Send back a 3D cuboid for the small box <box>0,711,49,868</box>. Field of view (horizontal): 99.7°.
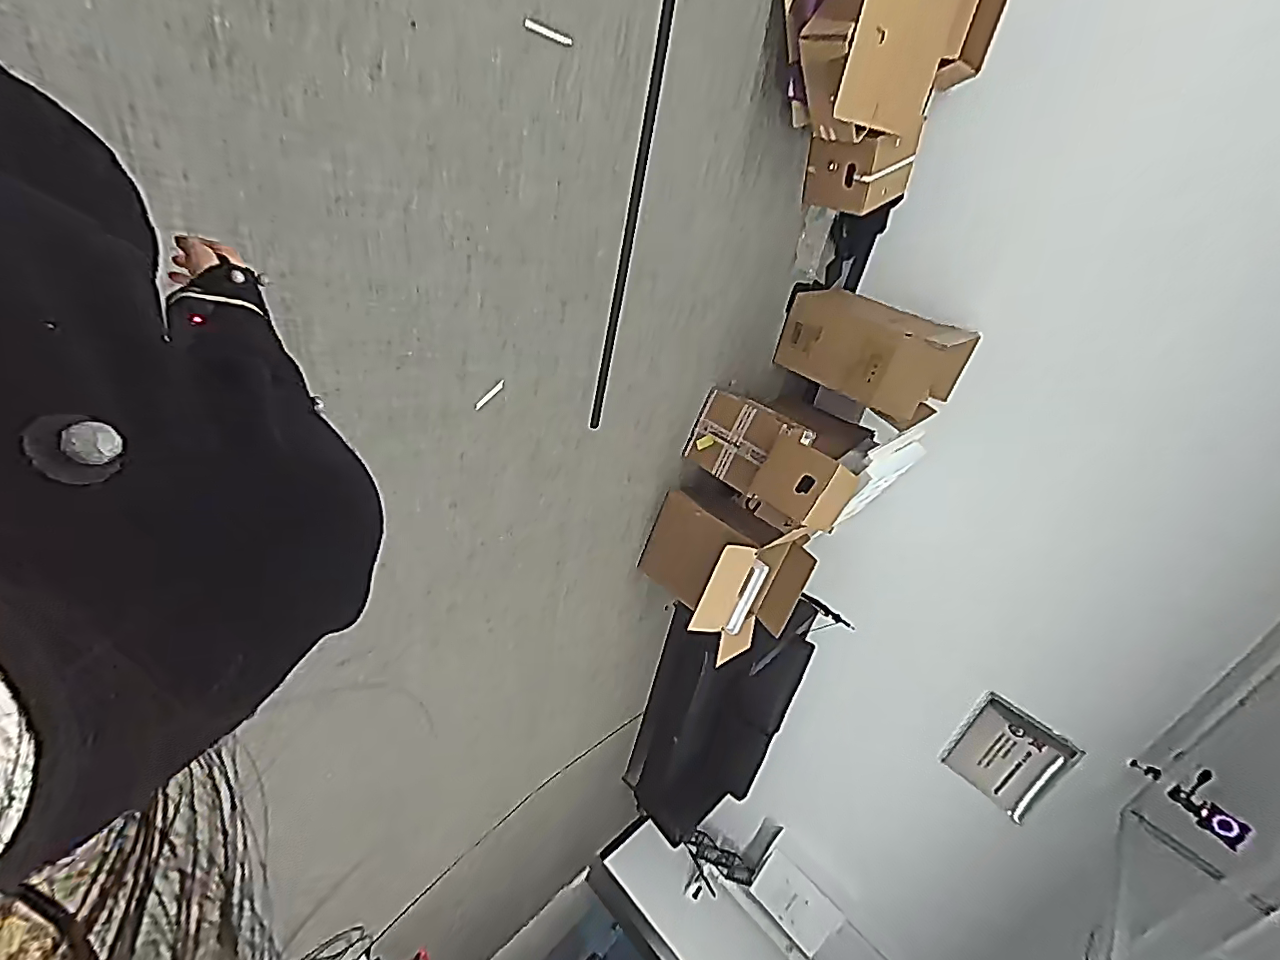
[{"bbox_3d":[-0.902,0.429,0.694,0.168,0.176,0.179,-12,127,-47],"label":"small box"}]

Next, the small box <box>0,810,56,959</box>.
[{"bbox_3d":[-0.794,0.514,0.603,0.168,0.176,0.179,-13,127,-46],"label":"small box"}]
